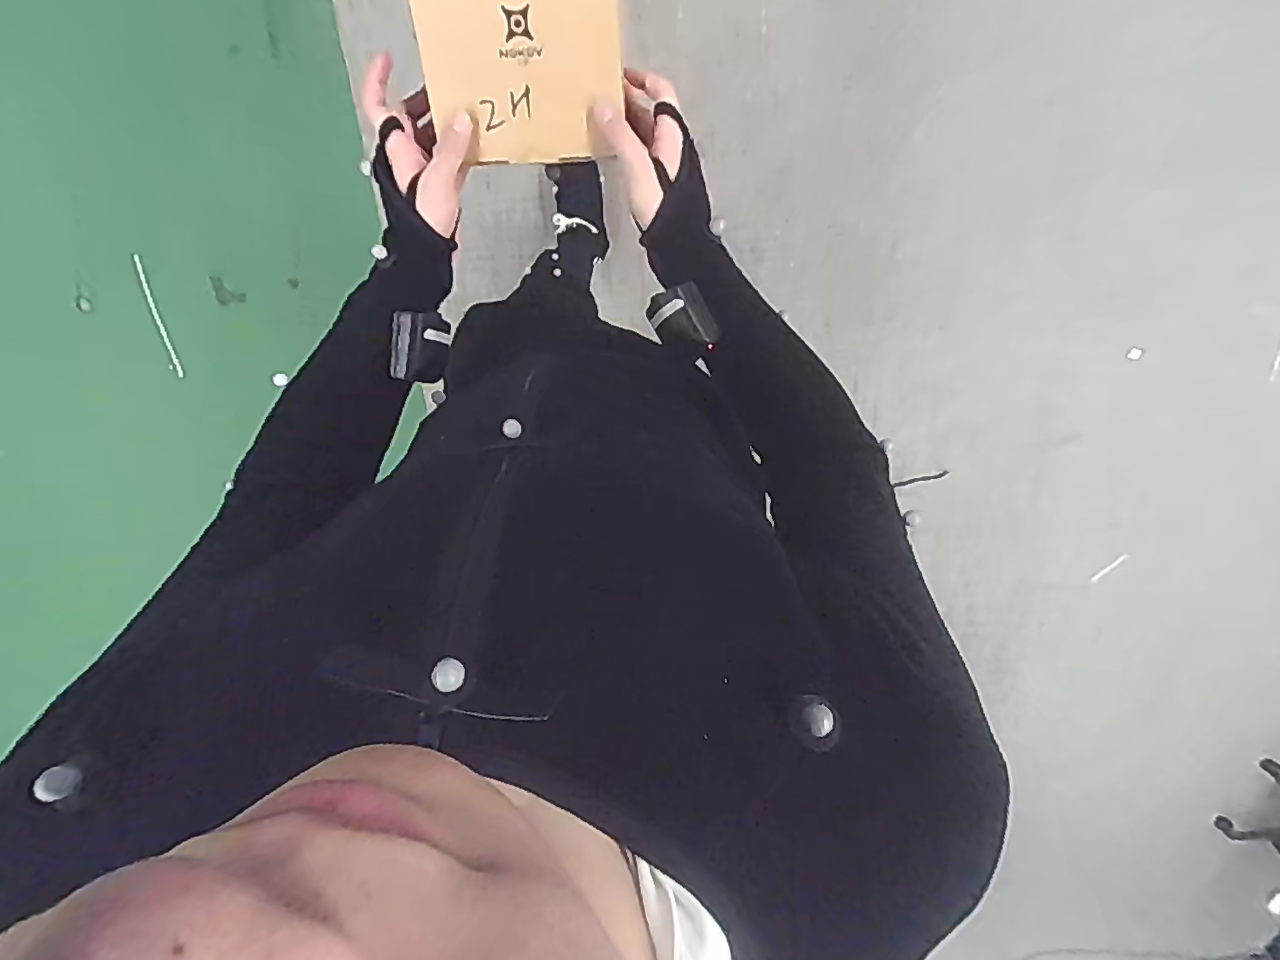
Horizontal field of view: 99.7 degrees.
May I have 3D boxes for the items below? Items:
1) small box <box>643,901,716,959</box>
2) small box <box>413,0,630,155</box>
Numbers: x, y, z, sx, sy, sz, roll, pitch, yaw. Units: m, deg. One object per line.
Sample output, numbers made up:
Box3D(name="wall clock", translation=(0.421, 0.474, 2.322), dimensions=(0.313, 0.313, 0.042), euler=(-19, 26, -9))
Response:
Box3D(name="small box", translation=(0.099, 1.148, 1.285), dimensions=(0.168, 0.176, 0.179), euler=(-8, 112, 1))
Box3D(name="small box", translation=(-0.095, -0.404, 0.495), dimensions=(0.168, 0.176, 0.179), euler=(-1, 121, 2))
